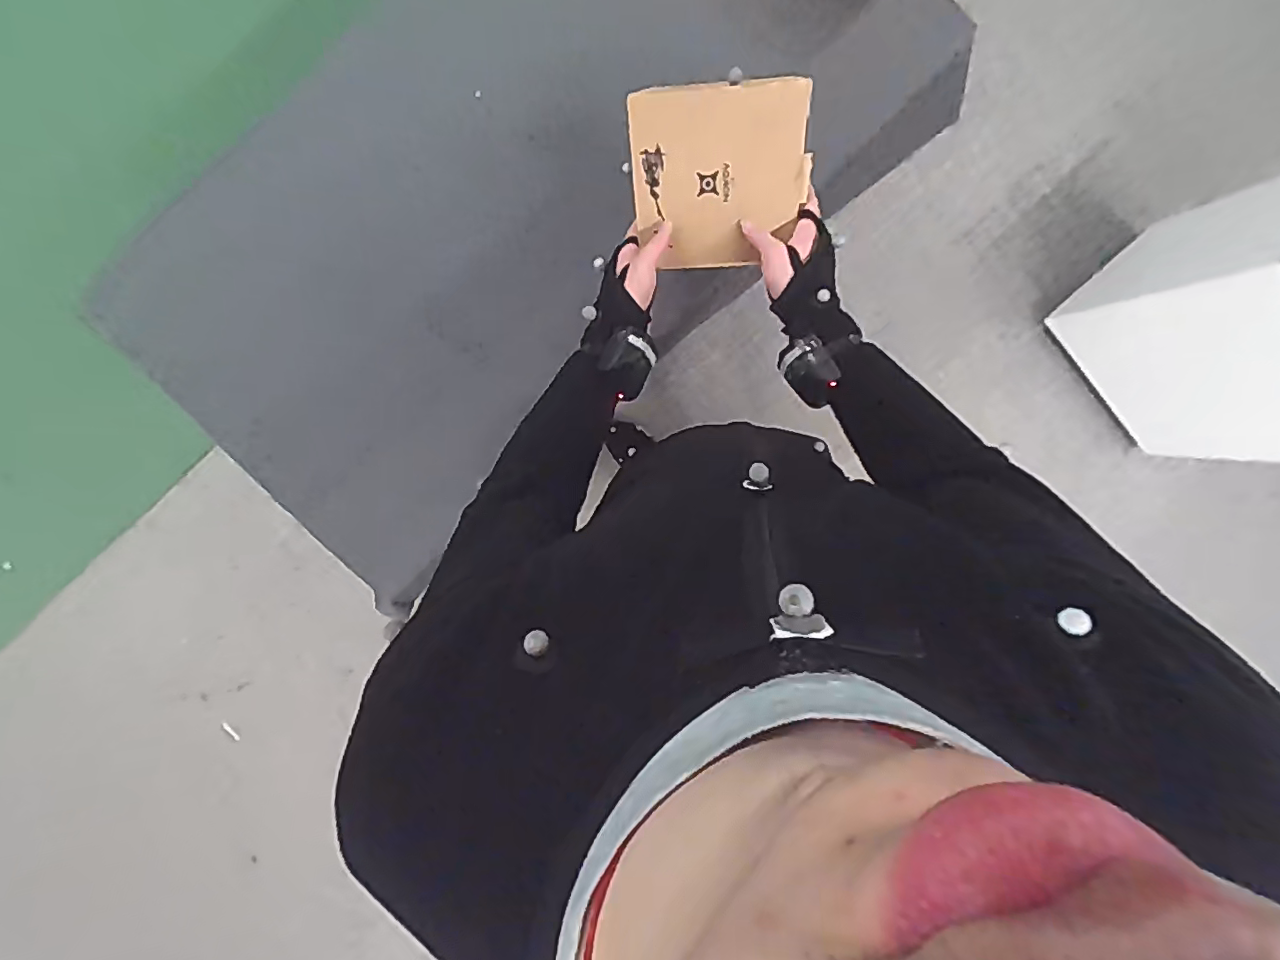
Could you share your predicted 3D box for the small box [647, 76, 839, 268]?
[{"bbox_3d":[0.102,-0.343,0.599,0.179,0.176,0.168,1,125,6],"label":"small box"}]
